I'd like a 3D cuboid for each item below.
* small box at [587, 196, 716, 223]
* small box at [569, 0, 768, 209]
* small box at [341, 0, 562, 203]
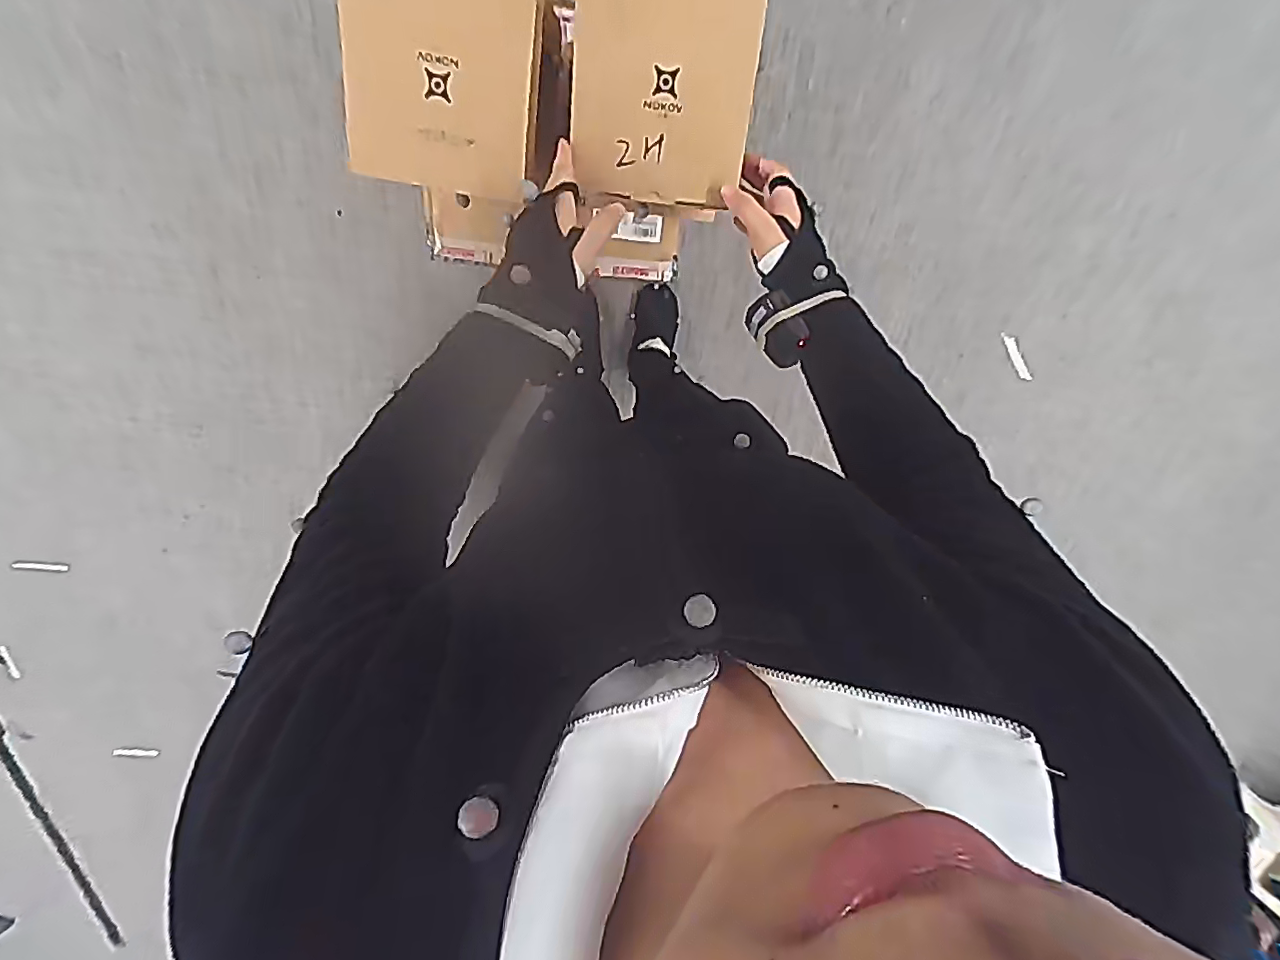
[{"bbox_3d":[0.020,-0.447,0.710,0.168,0.176,0.179,5,117,-7],"label":"small box"},{"bbox_3d":[0.015,-0.385,0.556,0.168,0.176,0.179,3,116,-5],"label":"small box"},{"bbox_3d":[-0.175,-0.389,0.546,0.168,0.176,0.179,8,117,-3],"label":"small box"}]
